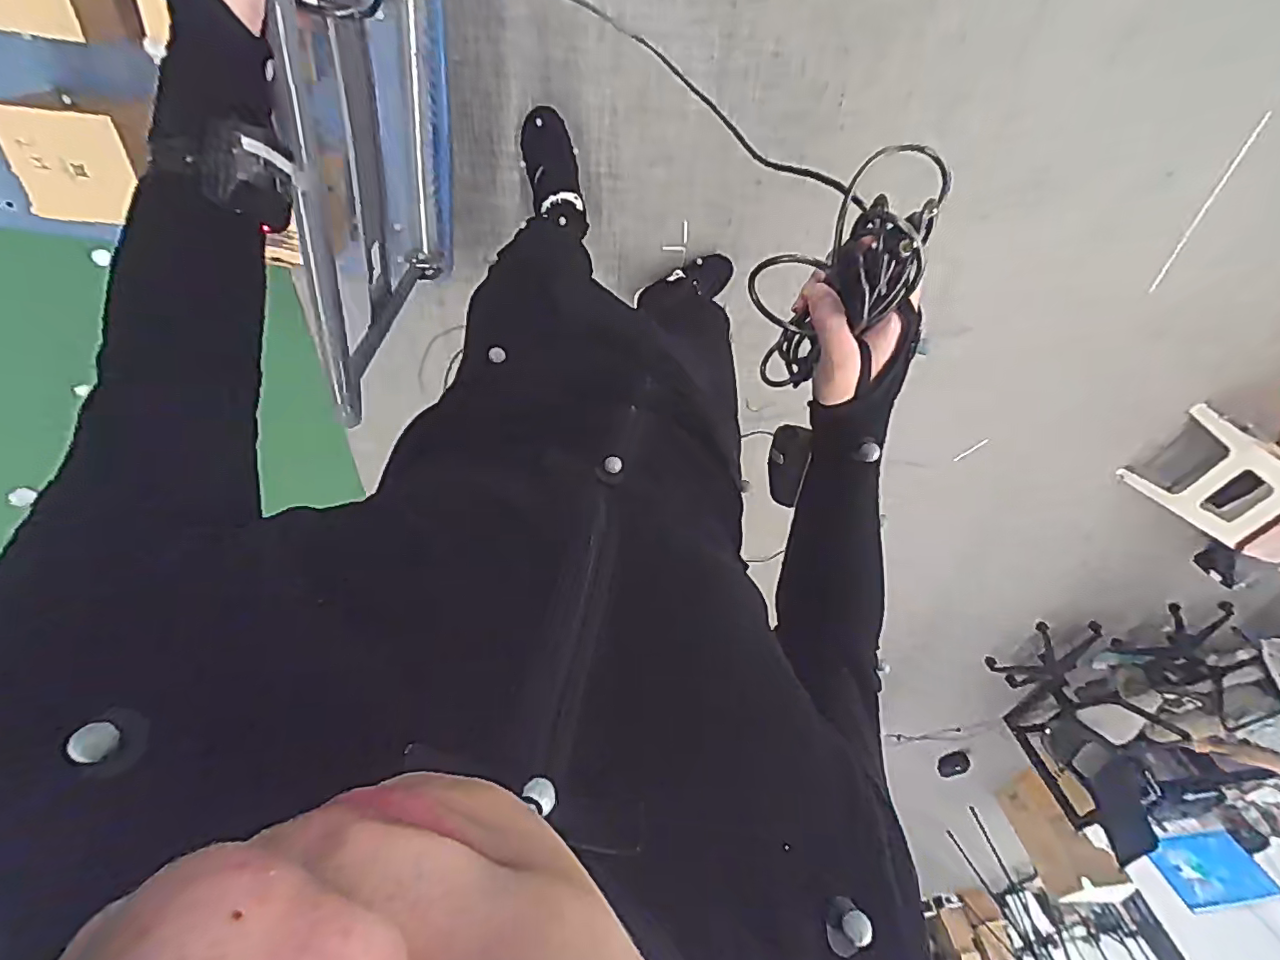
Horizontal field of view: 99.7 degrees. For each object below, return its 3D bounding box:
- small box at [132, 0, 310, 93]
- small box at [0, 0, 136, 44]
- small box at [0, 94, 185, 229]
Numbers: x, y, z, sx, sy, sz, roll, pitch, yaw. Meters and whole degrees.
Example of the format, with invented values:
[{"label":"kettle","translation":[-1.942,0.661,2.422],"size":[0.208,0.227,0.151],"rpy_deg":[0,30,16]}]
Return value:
[{"label":"small box","translation":[-0.645,-0.728,0.841],"size":[0.179,0.176,0.168],"rpy_deg":[3,130,-15]},{"label":"small box","translation":[-0.893,-0.746,0.773],"size":[0.179,0.176,0.168],"rpy_deg":[1,131,-13]},{"label":"small box","translation":[-0.936,-0.551,0.934],"size":[0.179,0.176,0.168],"rpy_deg":[0,130,-12]}]
